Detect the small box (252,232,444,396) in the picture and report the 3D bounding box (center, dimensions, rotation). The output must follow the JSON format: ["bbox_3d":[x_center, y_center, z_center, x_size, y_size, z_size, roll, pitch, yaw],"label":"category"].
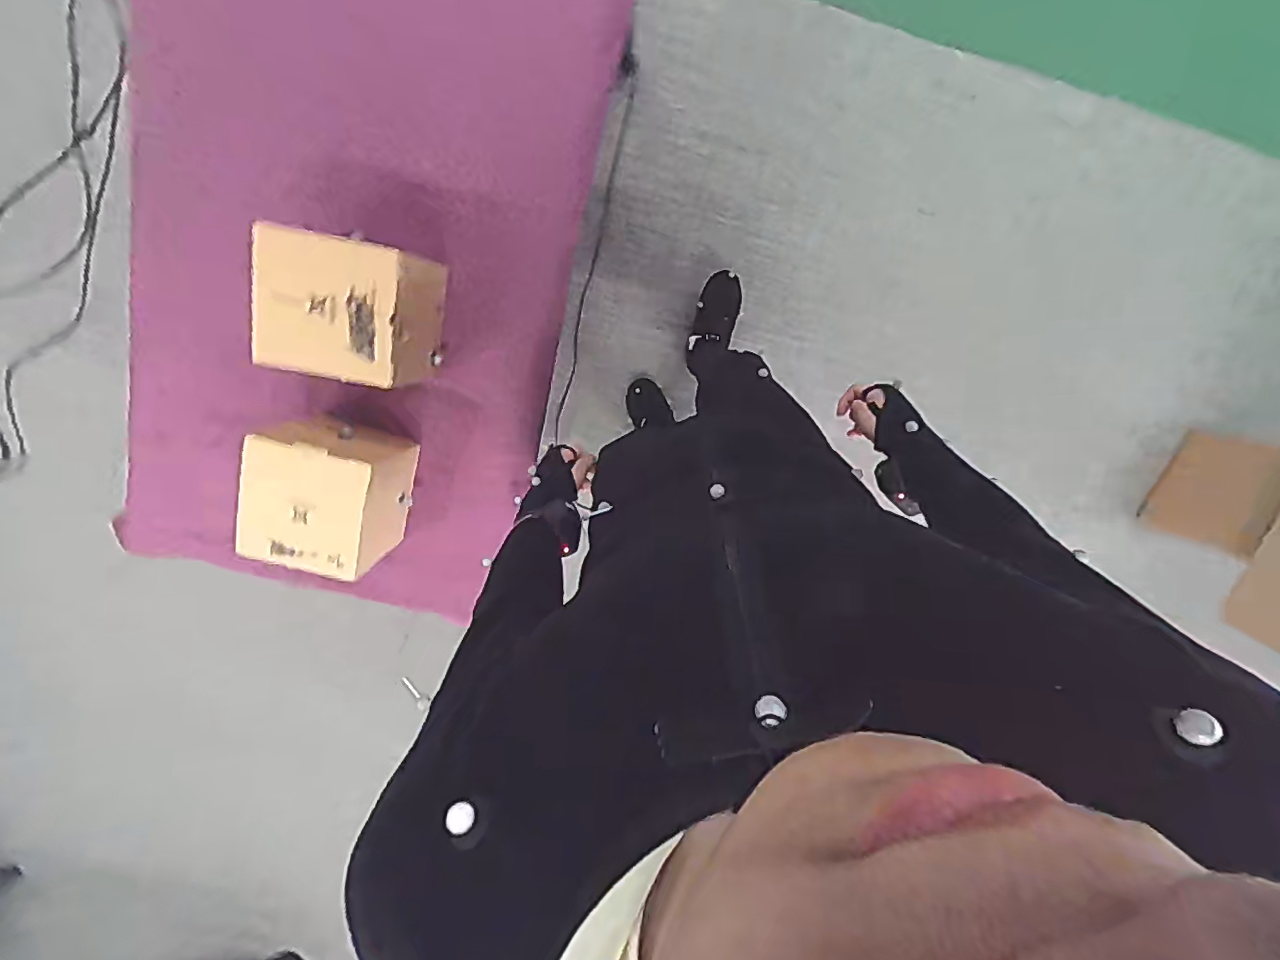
[{"bbox_3d":[-0.382,-0.218,0.732,0.179,0.176,0.168,10,104,-2],"label":"small box"}]

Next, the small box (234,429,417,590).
[{"bbox_3d":[-0.448,0.033,0.796,0.168,0.176,0.179,15,103,-4],"label":"small box"}]
